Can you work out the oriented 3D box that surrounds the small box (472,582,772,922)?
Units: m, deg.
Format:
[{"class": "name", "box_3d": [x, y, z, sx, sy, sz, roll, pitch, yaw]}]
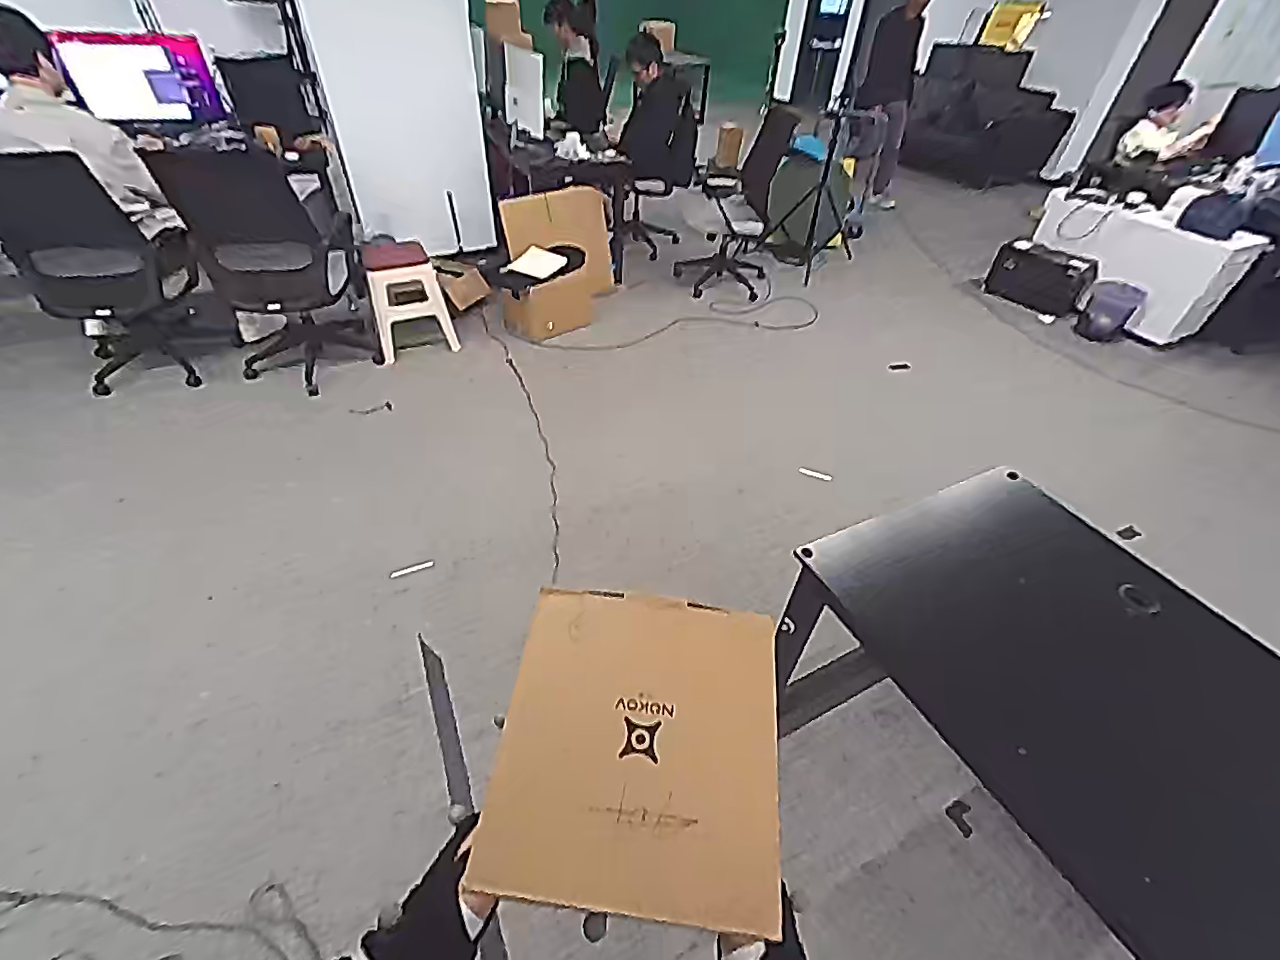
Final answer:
[{"class": "small box", "box_3d": [-0.005, 0.199, 0.399, 0.168, 0.176, 0.179, 7, 54, 2]}]
